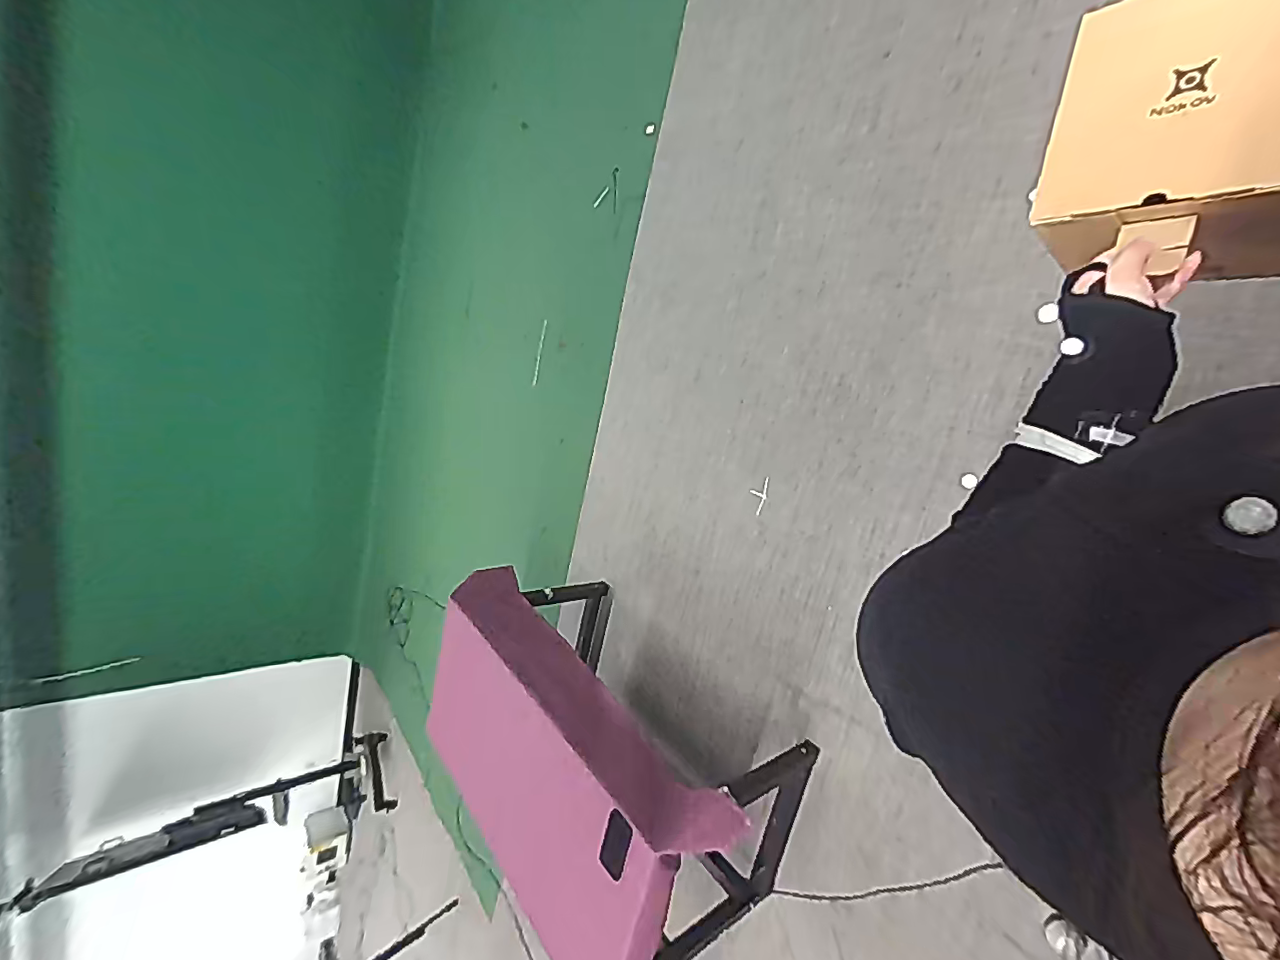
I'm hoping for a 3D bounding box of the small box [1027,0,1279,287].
[{"bbox_3d":[0.467,-0.280,0.457,0.168,0.176,0.179,19,99,49],"label":"small box"}]
